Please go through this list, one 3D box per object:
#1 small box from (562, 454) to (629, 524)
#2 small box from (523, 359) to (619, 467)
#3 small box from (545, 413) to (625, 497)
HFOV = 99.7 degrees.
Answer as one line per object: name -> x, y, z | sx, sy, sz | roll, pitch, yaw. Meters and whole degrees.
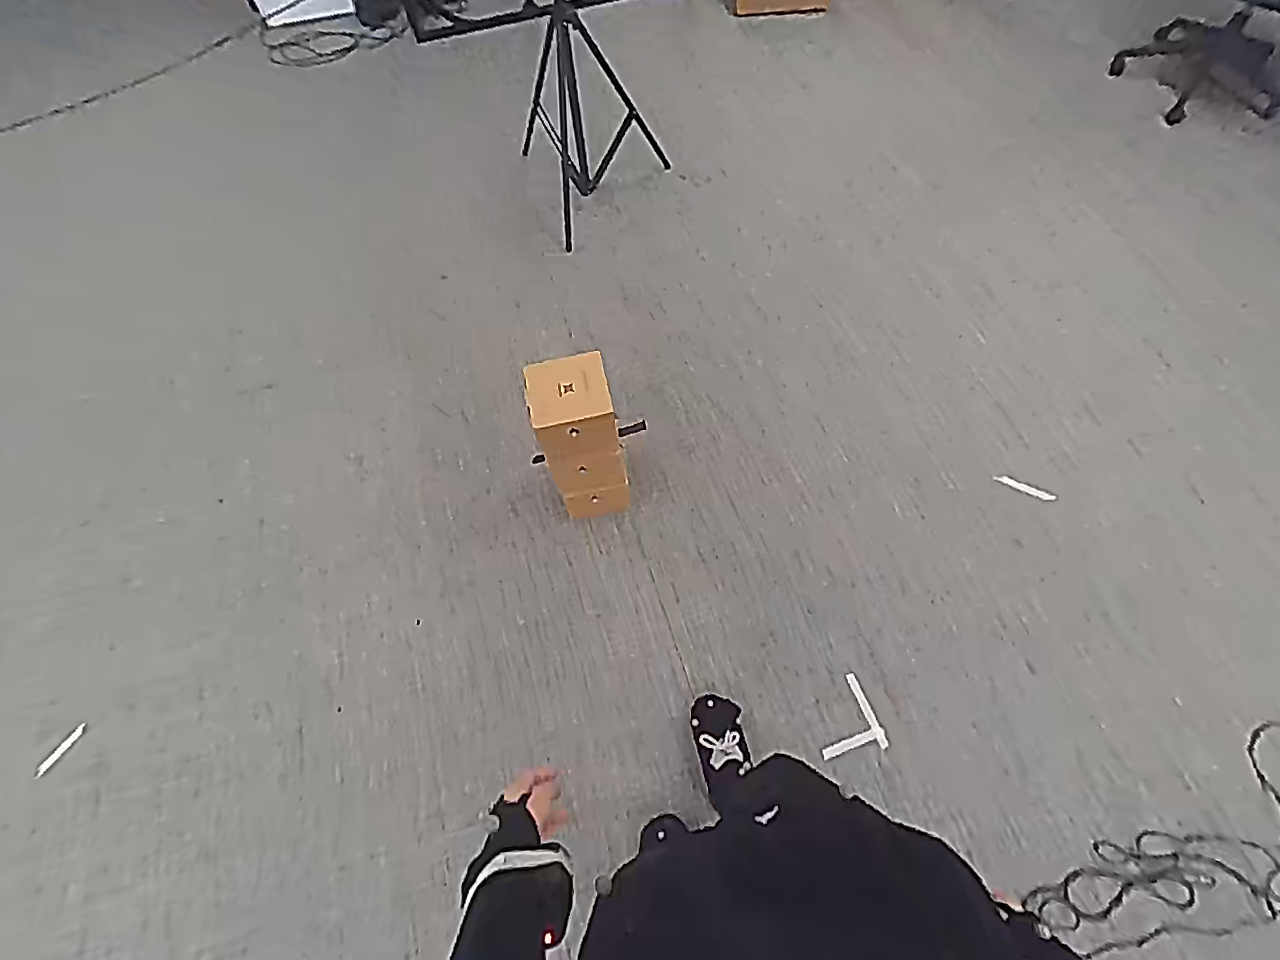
small box -> -0.129, 0.008, 1.516 | 0.179, 0.176, 0.168 | -12, 65, -3
small box -> -0.152, -0.145, 1.227 | 0.179, 0.176, 0.168 | -12, 66, -3
small box -> -0.141, -0.069, 1.370 | 0.179, 0.176, 0.168 | -10, 65, -1
